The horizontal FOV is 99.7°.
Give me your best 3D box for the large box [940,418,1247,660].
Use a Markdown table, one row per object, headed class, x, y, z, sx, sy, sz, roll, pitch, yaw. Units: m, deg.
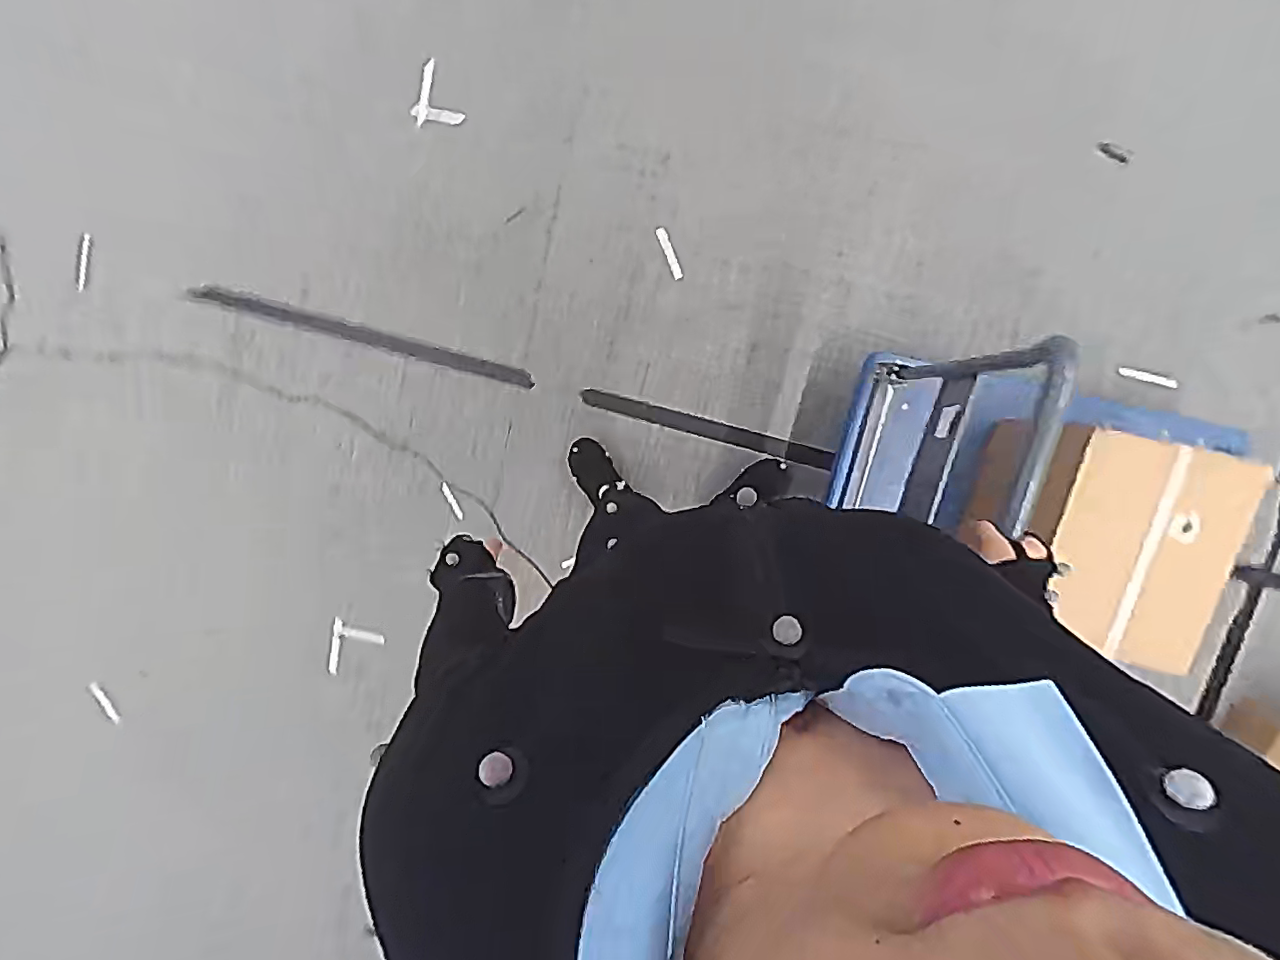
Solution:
| class | x | y | z | sx | sy | sz | roll | pitch | yaw |
| --- | --- | --- | --- | --- | --- | --- | --- | --- | --- |
| large box | 0.908 | 0.099 | 1.146 | 0.320 | 0.320 | 0.408 | 14 | 98 | 1 |
